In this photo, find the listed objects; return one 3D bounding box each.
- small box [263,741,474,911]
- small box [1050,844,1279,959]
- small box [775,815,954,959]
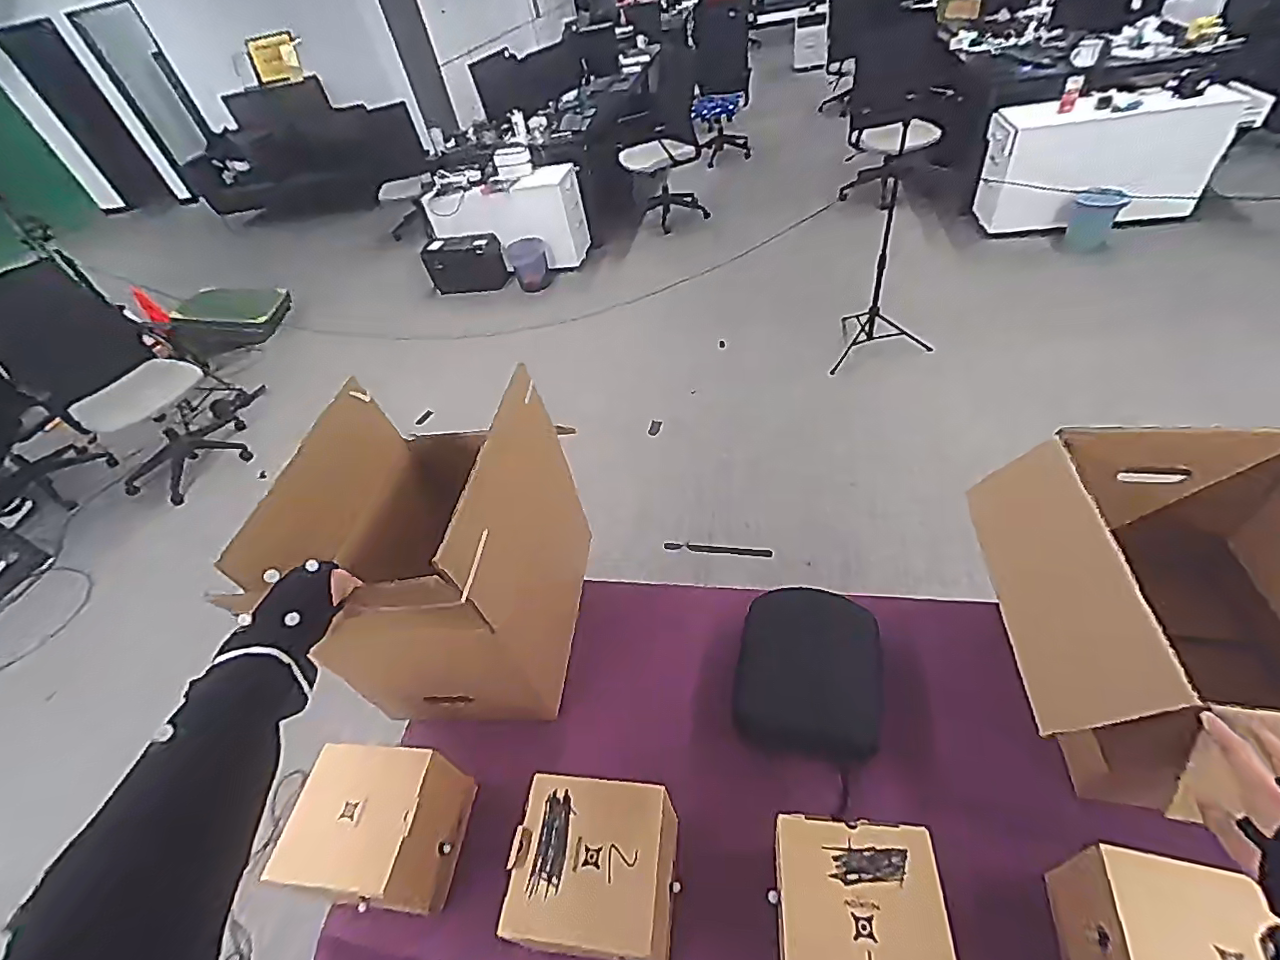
[{"bbox_3d":[-0.367,0.492,0.768,0.179,0.176,0.168,-1,45,10],"label":"small box"},{"bbox_3d":[0.549,0.506,0.543,0.168,0.176,0.179,4,46,18],"label":"small box"},{"bbox_3d":[0.242,0.509,0.613,0.168,0.176,0.179,-1,46,12],"label":"small box"}]
